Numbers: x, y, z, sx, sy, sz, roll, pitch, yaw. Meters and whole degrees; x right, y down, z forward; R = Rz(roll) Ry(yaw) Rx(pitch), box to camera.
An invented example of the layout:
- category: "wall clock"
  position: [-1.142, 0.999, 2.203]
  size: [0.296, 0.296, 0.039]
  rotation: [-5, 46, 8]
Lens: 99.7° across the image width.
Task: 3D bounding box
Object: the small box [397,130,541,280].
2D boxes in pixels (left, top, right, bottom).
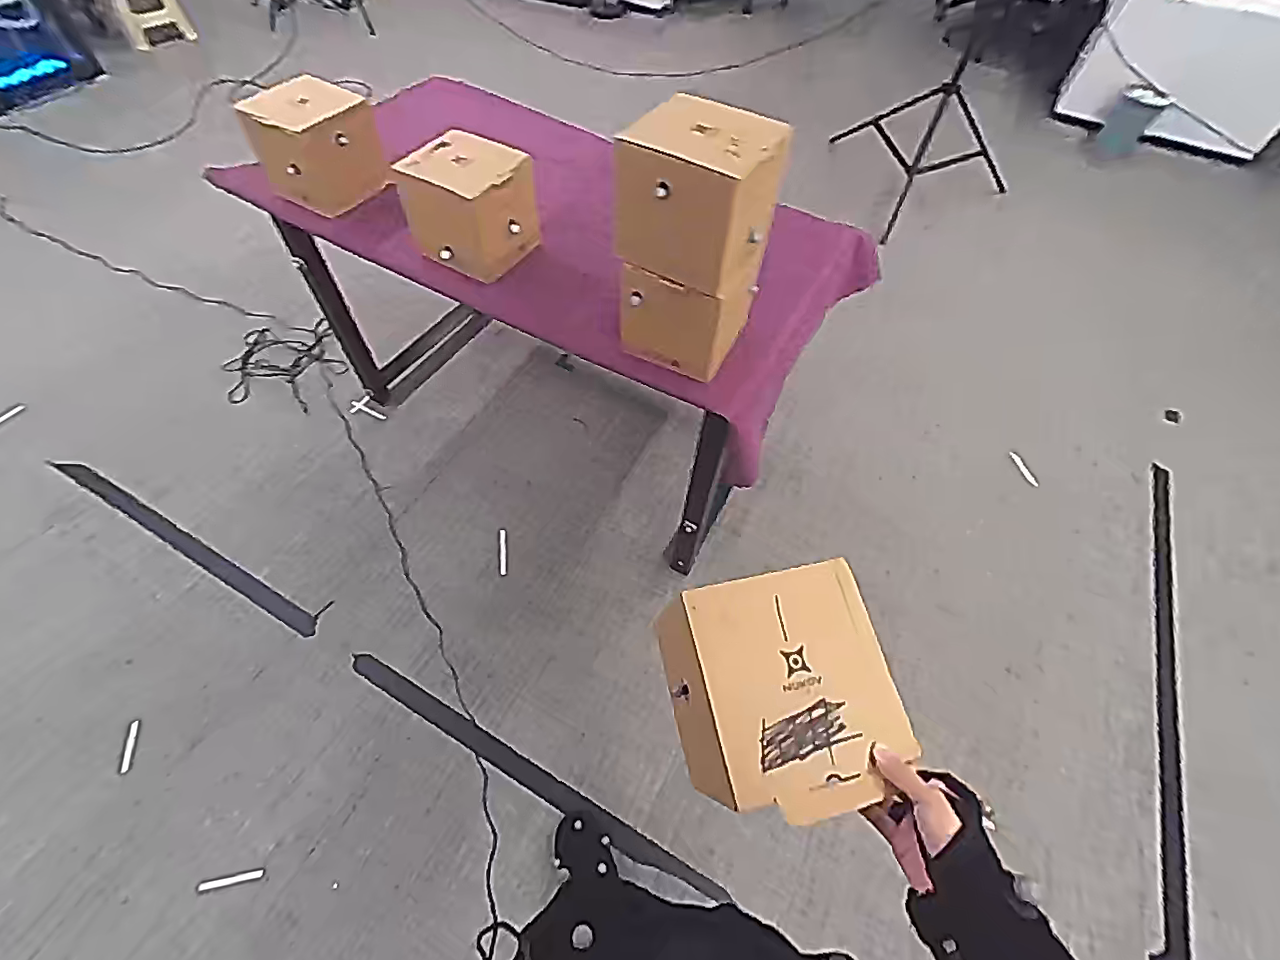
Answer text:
- category: "small box"
  position: [-0.299, -0.497, 0.993]
  size: [0.179, 0.176, 0.168]
  rotation: [28, 60, 14]

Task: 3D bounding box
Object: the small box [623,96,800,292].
- category: "small box"
  position: [0.089, -0.391, 0.749]
  size: [0.179, 0.176, 0.168]
  rotation: [29, 59, 15]

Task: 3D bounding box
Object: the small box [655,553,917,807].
- category: "small box"
  position: [0.121, 0.190, 0.529]
  size: [0.168, 0.176, 0.179]
  rotation: [-10, 67, -12]

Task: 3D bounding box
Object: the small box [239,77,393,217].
- category: "small box"
  position: [-0.632, -0.661, 1.082]
  size: [0.168, 0.176, 0.179]
  rotation: [28, 58, 12]
